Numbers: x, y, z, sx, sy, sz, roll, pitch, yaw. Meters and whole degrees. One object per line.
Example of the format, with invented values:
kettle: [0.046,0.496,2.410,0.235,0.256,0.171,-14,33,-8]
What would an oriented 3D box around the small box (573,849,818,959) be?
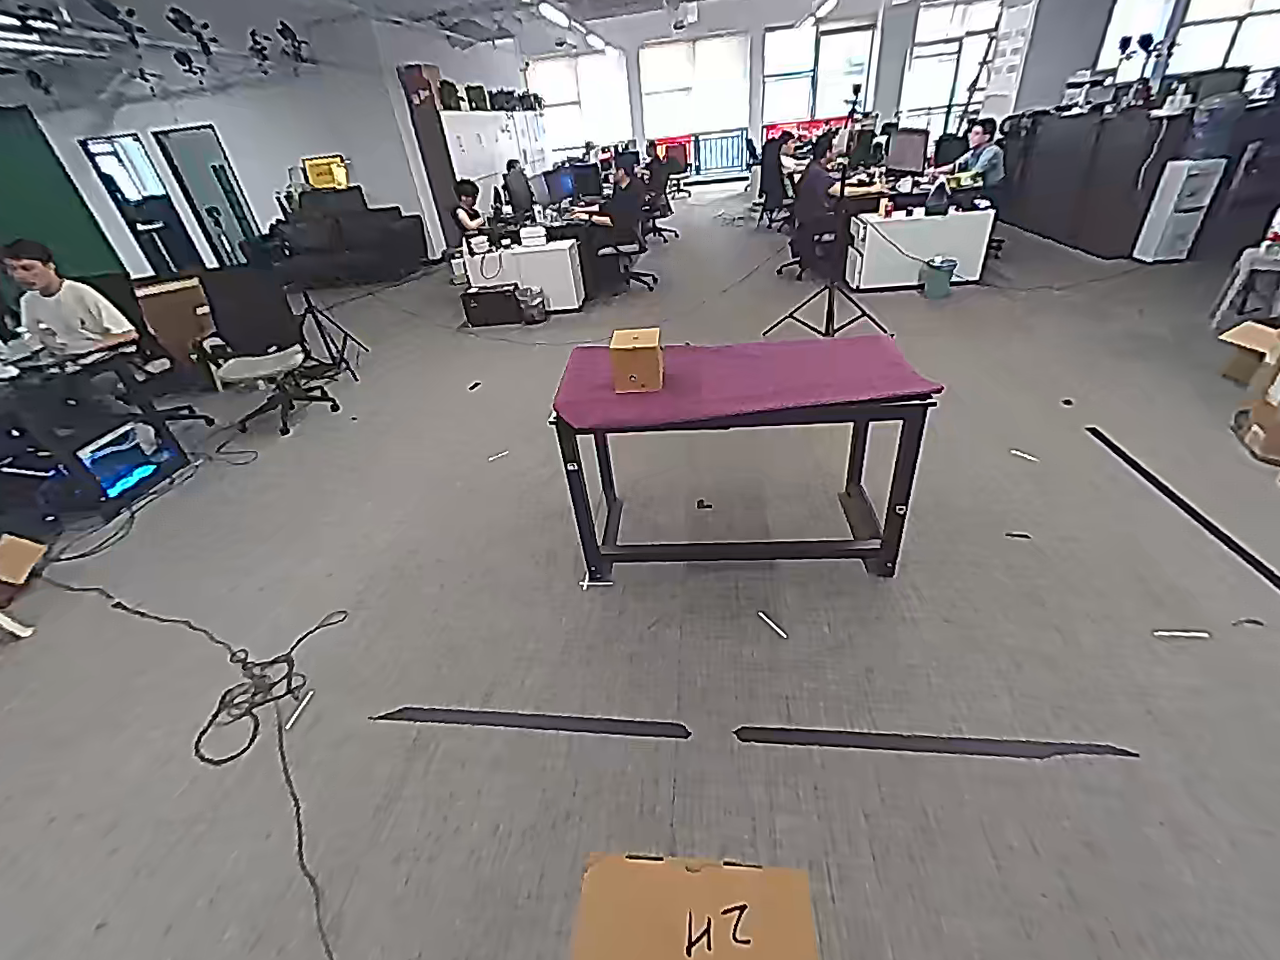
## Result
small box: [0.039,0.400,0.386,0.168,0.176,0.179,1,37,6]

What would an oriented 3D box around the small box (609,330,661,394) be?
small box: [-0.013,-0.419,1.921,0.168,0.176,0.179,-2,35,6]
